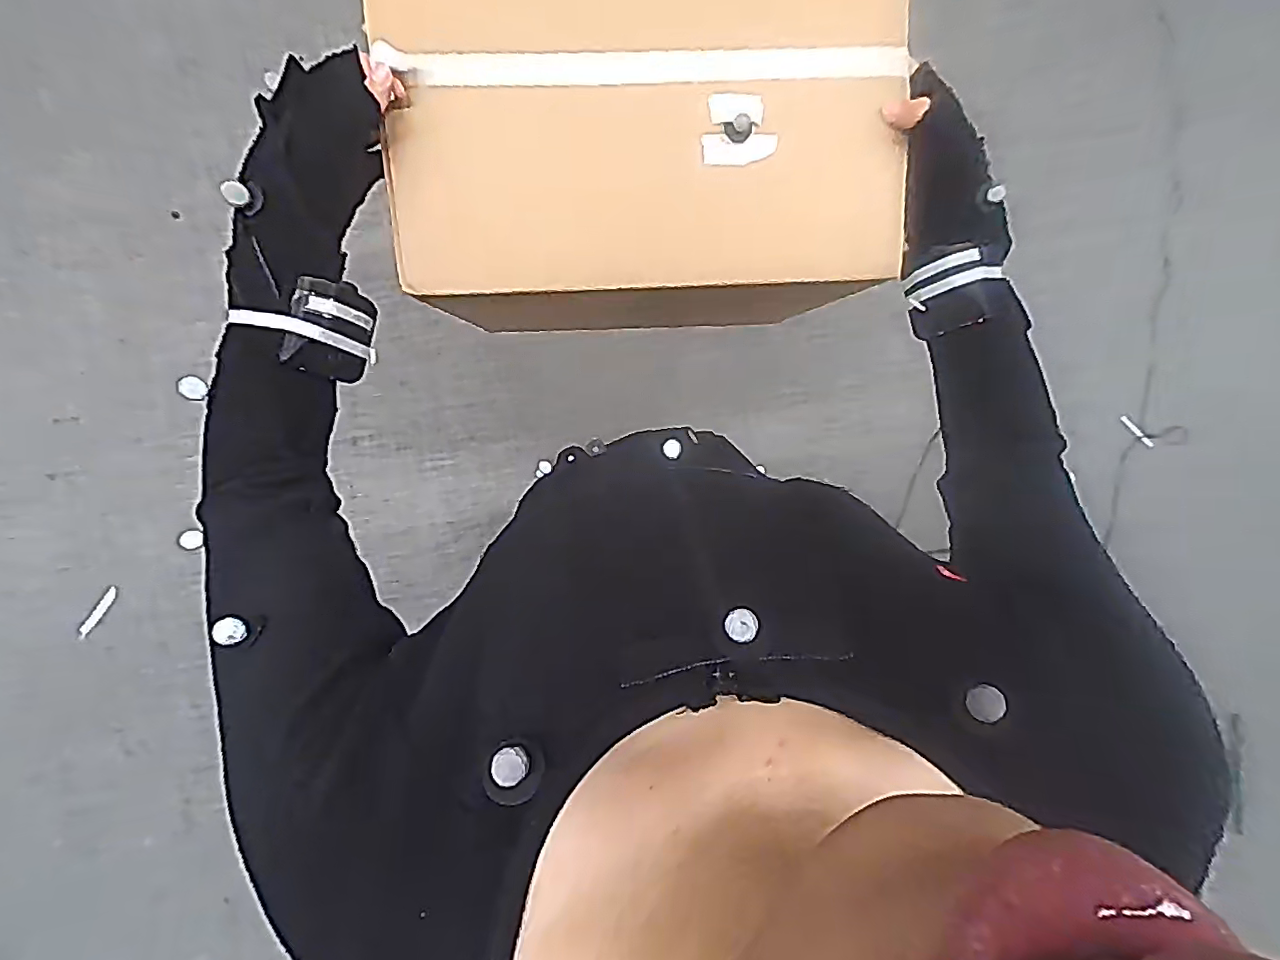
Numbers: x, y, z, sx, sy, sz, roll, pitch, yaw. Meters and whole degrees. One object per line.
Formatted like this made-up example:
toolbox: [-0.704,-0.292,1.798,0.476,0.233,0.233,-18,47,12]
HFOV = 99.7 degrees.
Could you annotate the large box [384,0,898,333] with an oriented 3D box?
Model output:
large box: [-0.004,-0.340,0.571,0.408,0.320,0.320,-3,100,-4]
